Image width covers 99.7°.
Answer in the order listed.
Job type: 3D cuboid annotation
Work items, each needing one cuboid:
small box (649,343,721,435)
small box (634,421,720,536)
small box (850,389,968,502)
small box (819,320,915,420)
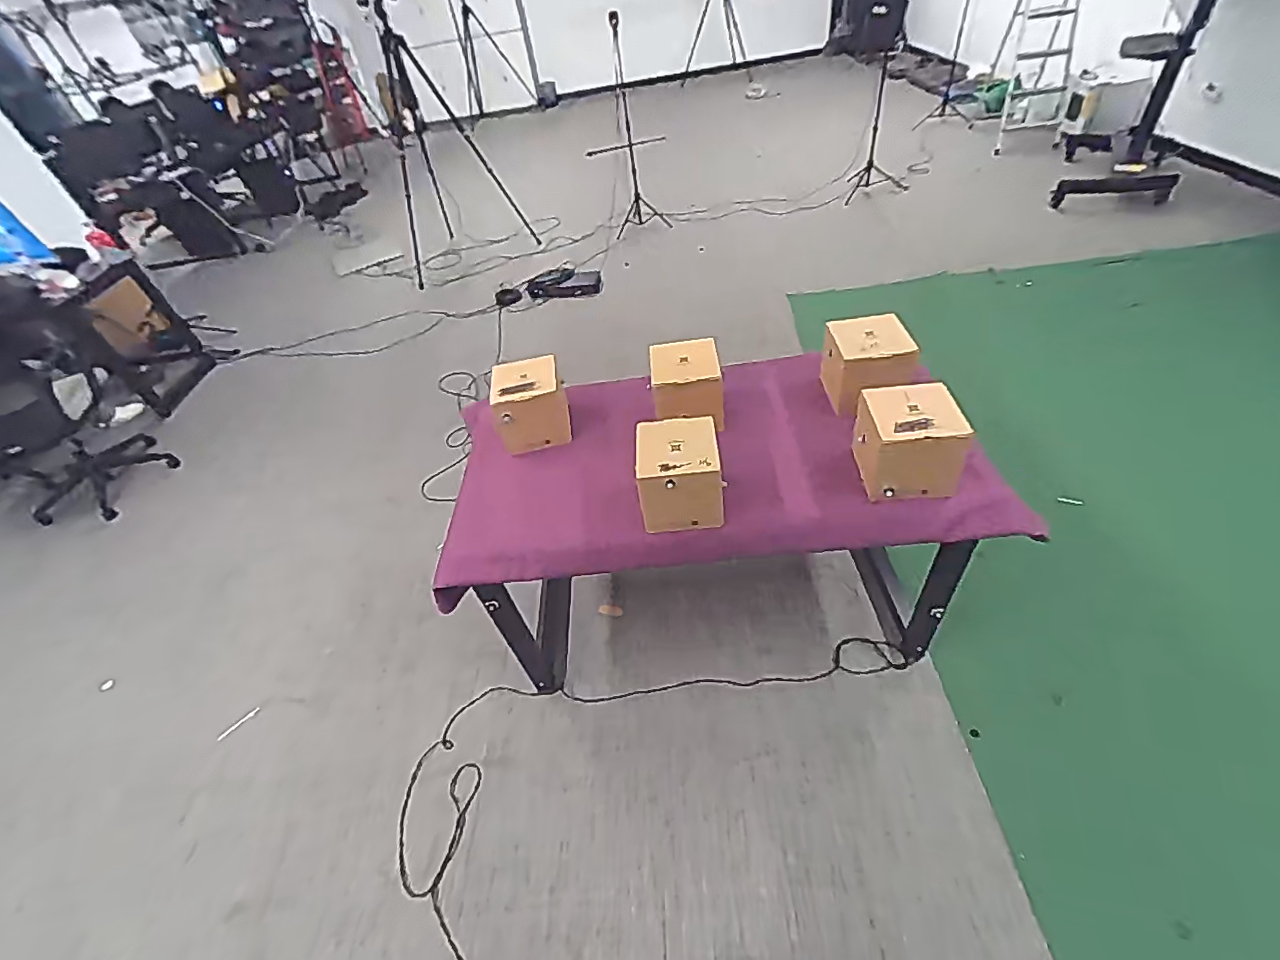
[{"bbox_3d":[0.112,-0.224,1.371,0.168,0.176,0.179,-6,46,4],"label":"small box"},{"bbox_3d":[0.081,-0.002,1.151,0.168,0.176,0.179,-6,43,6],"label":"small box"},{"bbox_3d":[0.548,-0.066,1.128,0.168,0.176,0.179,-4,43,8],"label":"small box"},{"bbox_3d":[0.549,-0.271,1.335,0.168,0.176,0.179,-6,45,6],"label":"small box"}]
